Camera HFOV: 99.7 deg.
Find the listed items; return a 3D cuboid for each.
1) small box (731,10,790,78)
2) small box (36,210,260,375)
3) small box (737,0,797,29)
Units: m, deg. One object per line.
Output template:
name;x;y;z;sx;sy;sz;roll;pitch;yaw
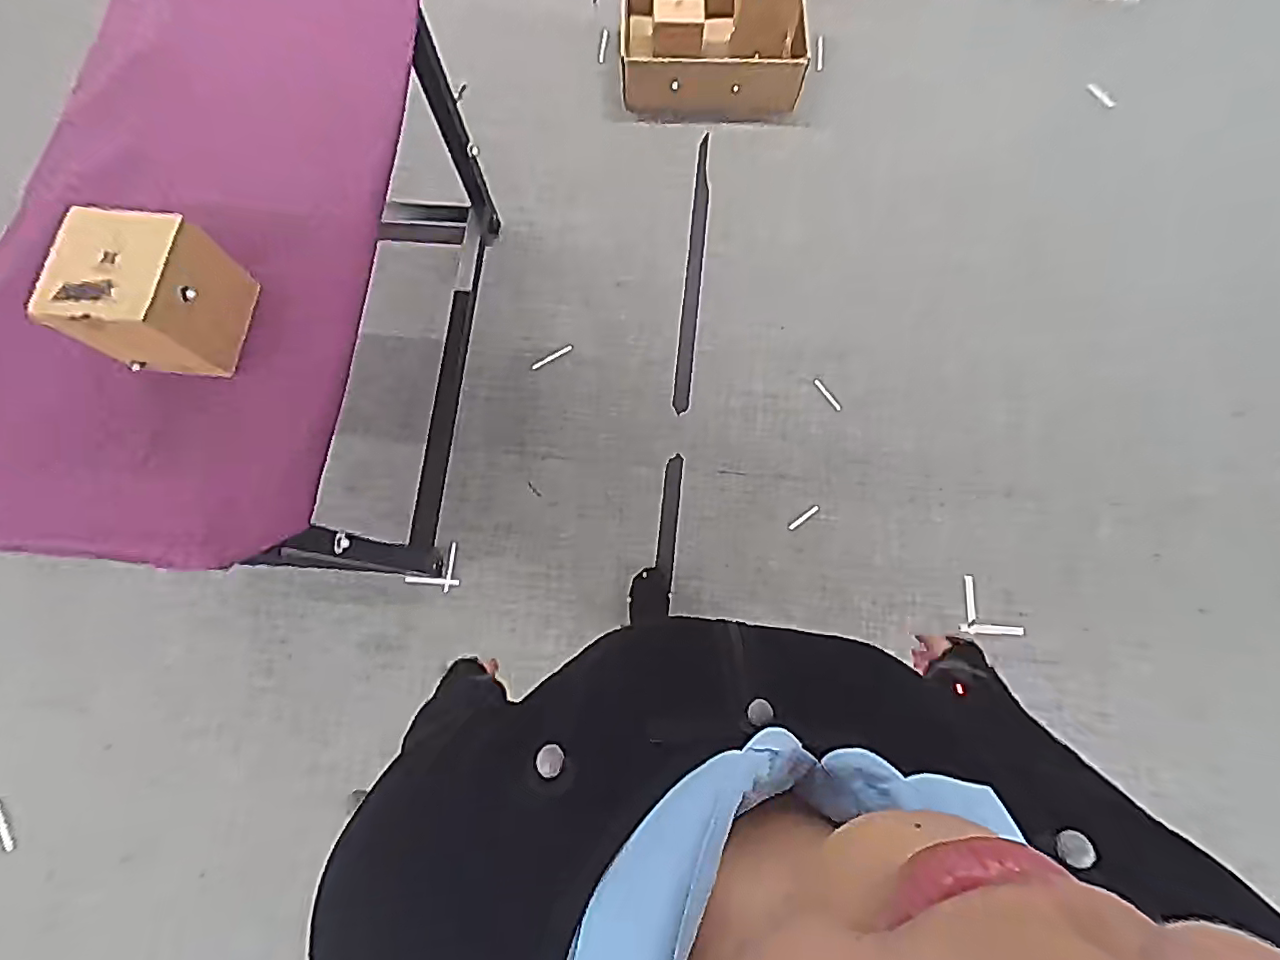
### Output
small box;0.408;-1.514;1.845;0.168;0.176;0.179;2;75;0
small box;-0.731;-0.277;0.829;0.168;0.176;0.179;5;75;1
small box;0.403;-1.553;1.687;0.179;0.176;0.168;1;76;2
